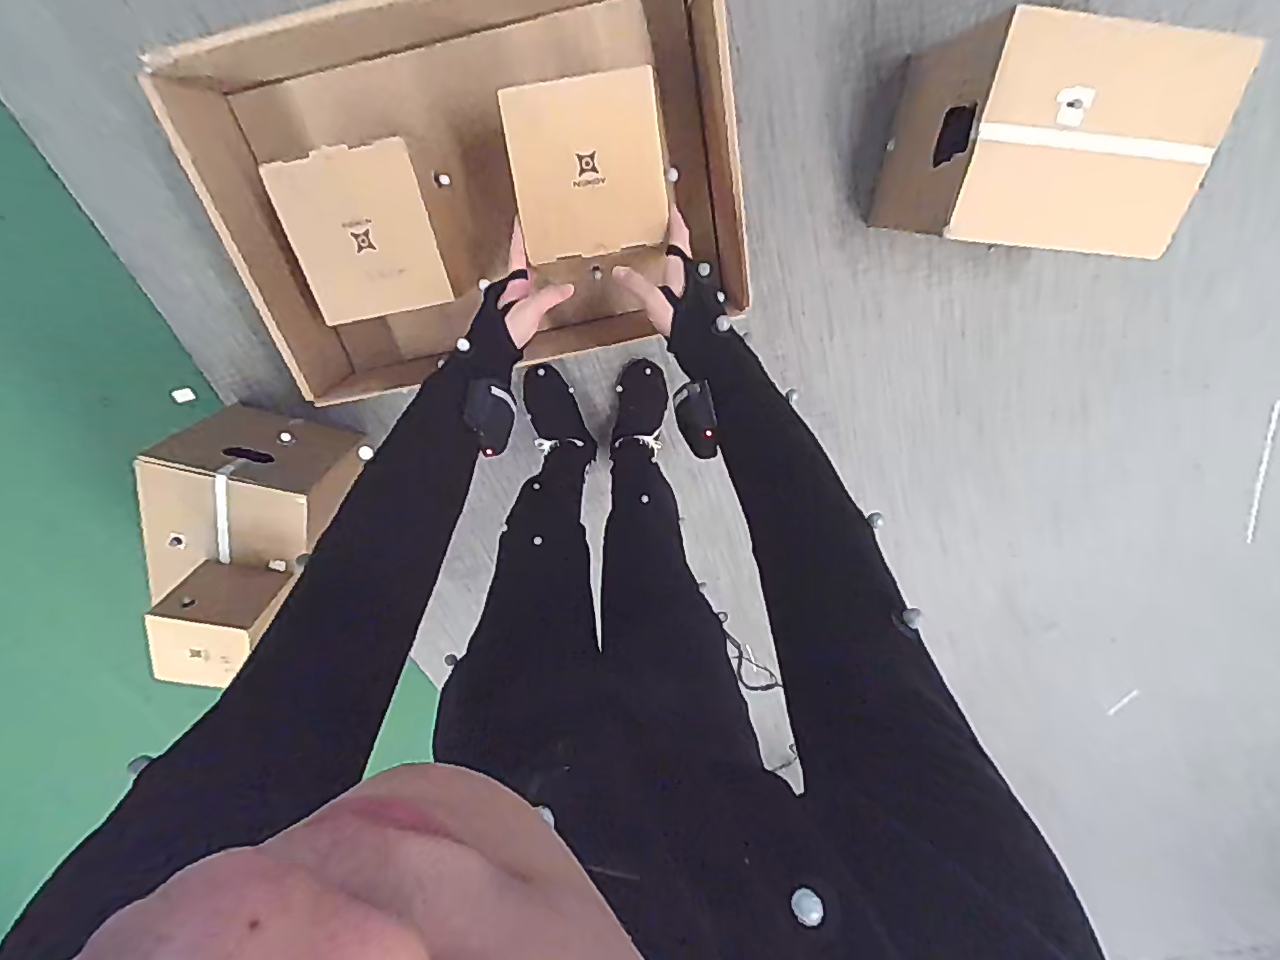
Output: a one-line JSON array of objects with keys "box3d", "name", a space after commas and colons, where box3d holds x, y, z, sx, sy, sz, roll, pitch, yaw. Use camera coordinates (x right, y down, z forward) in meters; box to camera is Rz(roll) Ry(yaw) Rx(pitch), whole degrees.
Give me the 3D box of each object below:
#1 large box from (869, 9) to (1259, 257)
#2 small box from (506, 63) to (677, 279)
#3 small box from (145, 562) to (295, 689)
[{"box3d": [0.710, -0.605, 0.991, 0.408, 0.320, 0.320, 3, 117, -4], "name": "large box"}, {"box3d": [-0.053, -0.356, 0.654, 0.168, 0.176, 0.179, -8, 103, 0], "name": "small box"}, {"box3d": [-0.827, 0.284, 1.081, 0.179, 0.176, 0.168, 12, 116, -11], "name": "small box"}]
